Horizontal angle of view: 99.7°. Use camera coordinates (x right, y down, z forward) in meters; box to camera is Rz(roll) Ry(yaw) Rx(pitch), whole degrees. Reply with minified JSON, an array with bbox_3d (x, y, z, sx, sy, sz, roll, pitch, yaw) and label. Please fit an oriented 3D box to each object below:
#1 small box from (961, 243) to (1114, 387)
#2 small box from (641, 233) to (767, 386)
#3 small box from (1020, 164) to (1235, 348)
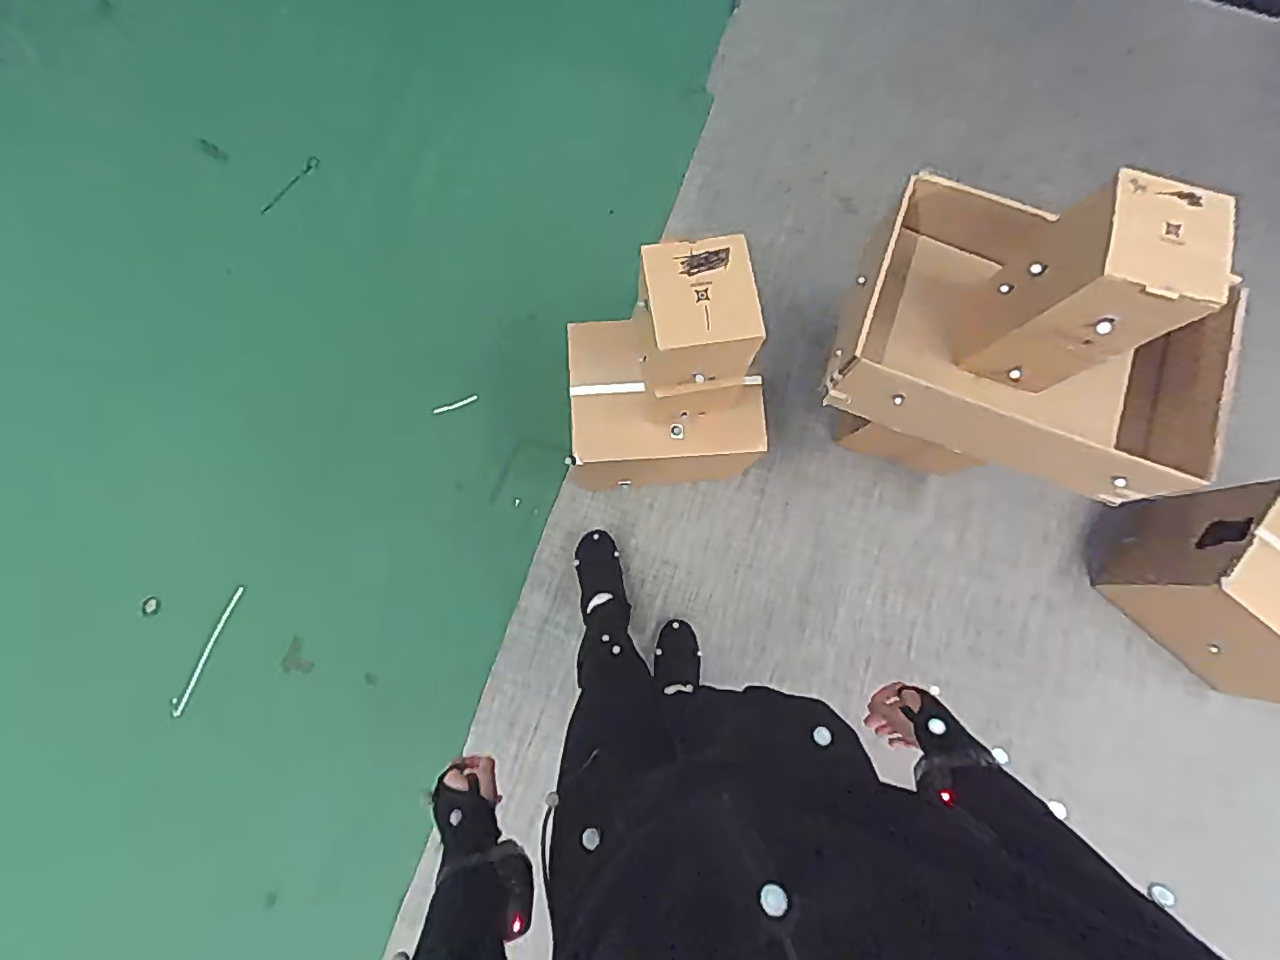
[{"bbox_3d":[0.718,-0.294,0.977,0.168,0.176,0.179,19,80,3],"label":"small box"},{"bbox_3d":[0.095,-0.274,0.896,0.168,0.176,0.179,-8,79,-3],"label":"small box"},{"bbox_3d":[0.718,-0.324,0.816,0.168,0.176,0.179,17,80,1],"label":"small box"}]
